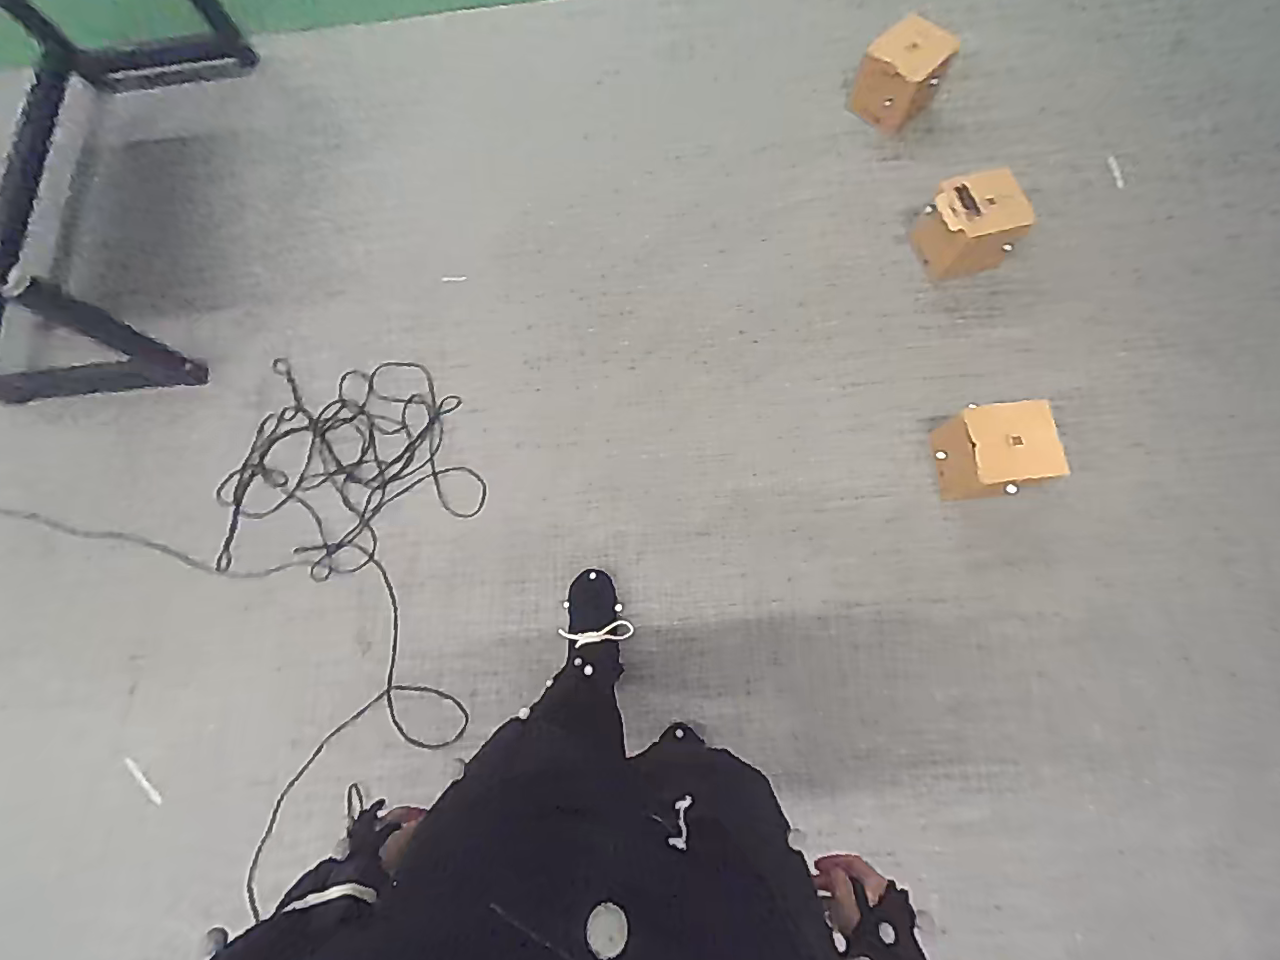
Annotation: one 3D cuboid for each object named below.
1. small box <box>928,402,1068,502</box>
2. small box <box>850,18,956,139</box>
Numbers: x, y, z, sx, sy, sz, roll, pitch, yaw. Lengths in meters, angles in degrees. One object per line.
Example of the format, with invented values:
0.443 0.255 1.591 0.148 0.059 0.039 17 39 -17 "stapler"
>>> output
0.763 -0.055 1.173 0.179 0.176 0.168 -6 75 3 "small box"
0.692 -1.068 1.452 0.179 0.176 0.168 -43 77 -8 "small box"
